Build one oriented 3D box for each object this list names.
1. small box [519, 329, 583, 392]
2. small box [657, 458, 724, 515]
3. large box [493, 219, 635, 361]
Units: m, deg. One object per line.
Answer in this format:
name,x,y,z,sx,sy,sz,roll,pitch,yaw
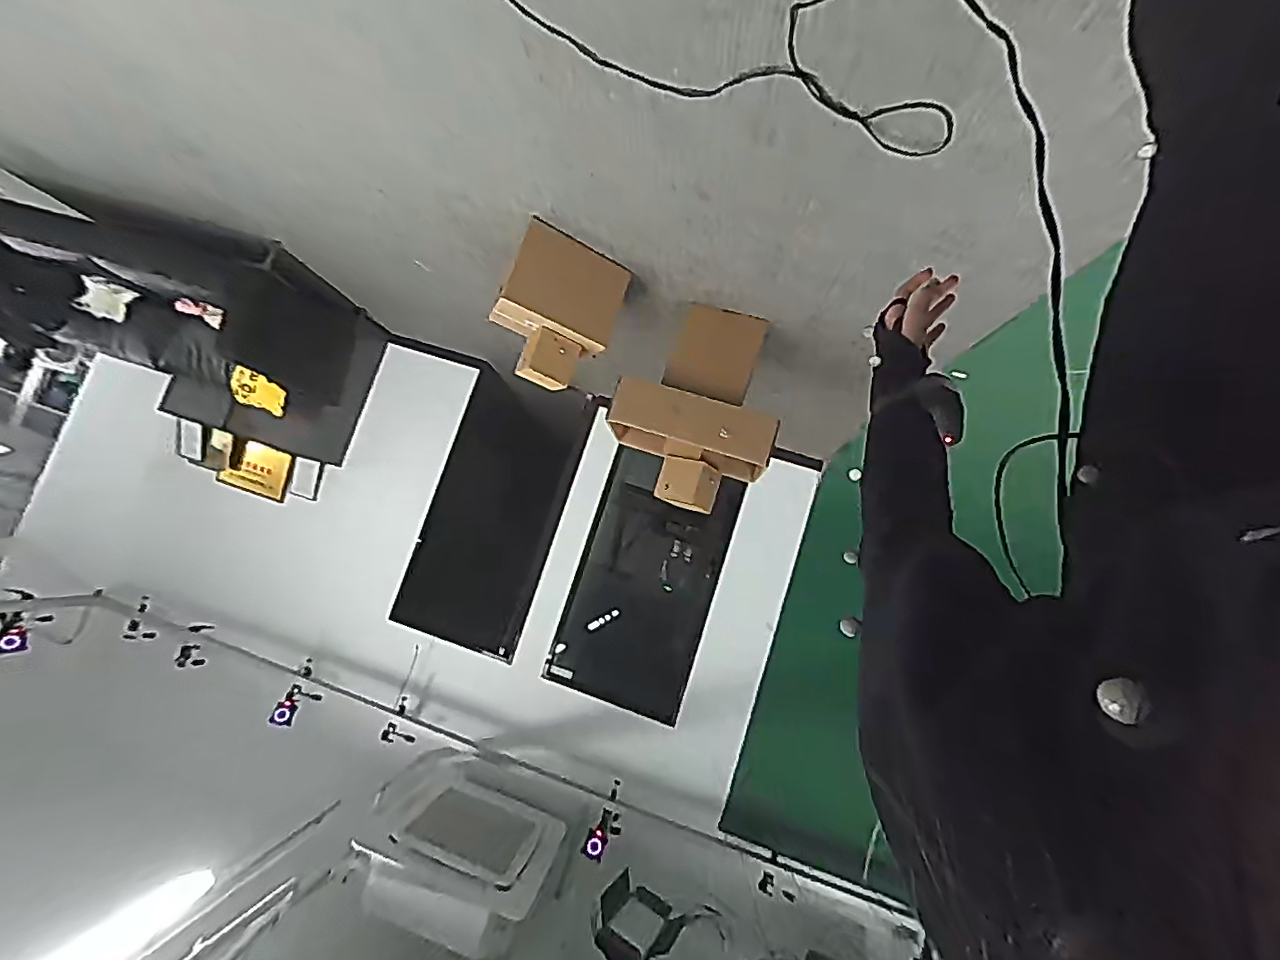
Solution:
small box,-0.333,-0.448,2.036,0.168,0.176,0.179,22,174,-27
small box,0.198,0.021,2.079,0.179,0.176,0.168,13,172,36
large box,-0.290,-0.692,2.037,0.408,0.320,0.320,23,172,-23
